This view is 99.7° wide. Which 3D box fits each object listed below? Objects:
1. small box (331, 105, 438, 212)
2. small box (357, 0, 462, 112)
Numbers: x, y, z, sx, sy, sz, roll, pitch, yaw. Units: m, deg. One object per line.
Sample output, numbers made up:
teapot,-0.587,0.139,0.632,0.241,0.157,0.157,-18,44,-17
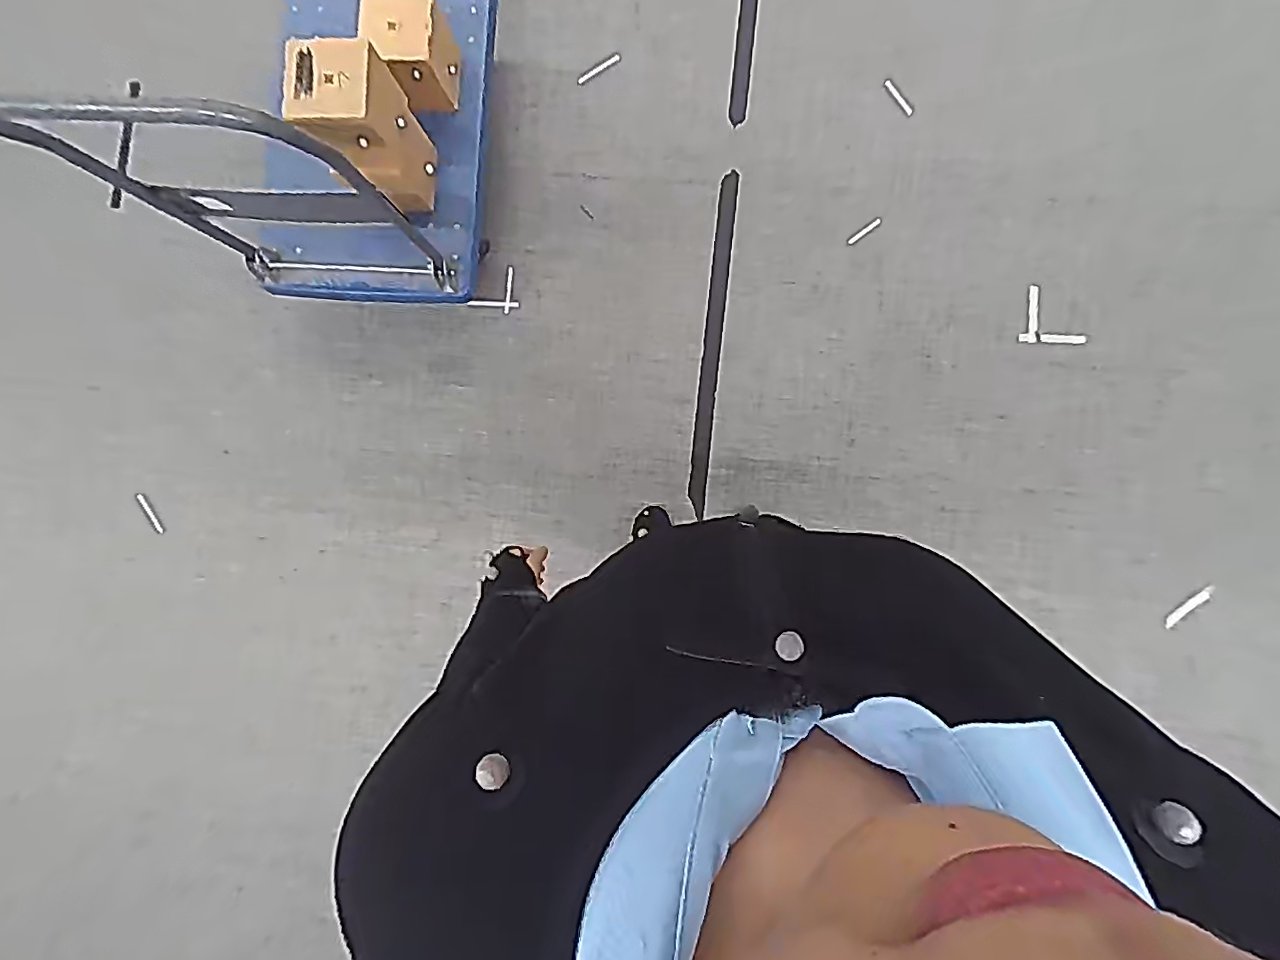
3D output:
small box,-0.619,-0.779,1.325,0.179,0.176,0.168,2,88,3
small box,-0.561,-1.046,1.334,0.179,0.176,0.168,4,88,4
